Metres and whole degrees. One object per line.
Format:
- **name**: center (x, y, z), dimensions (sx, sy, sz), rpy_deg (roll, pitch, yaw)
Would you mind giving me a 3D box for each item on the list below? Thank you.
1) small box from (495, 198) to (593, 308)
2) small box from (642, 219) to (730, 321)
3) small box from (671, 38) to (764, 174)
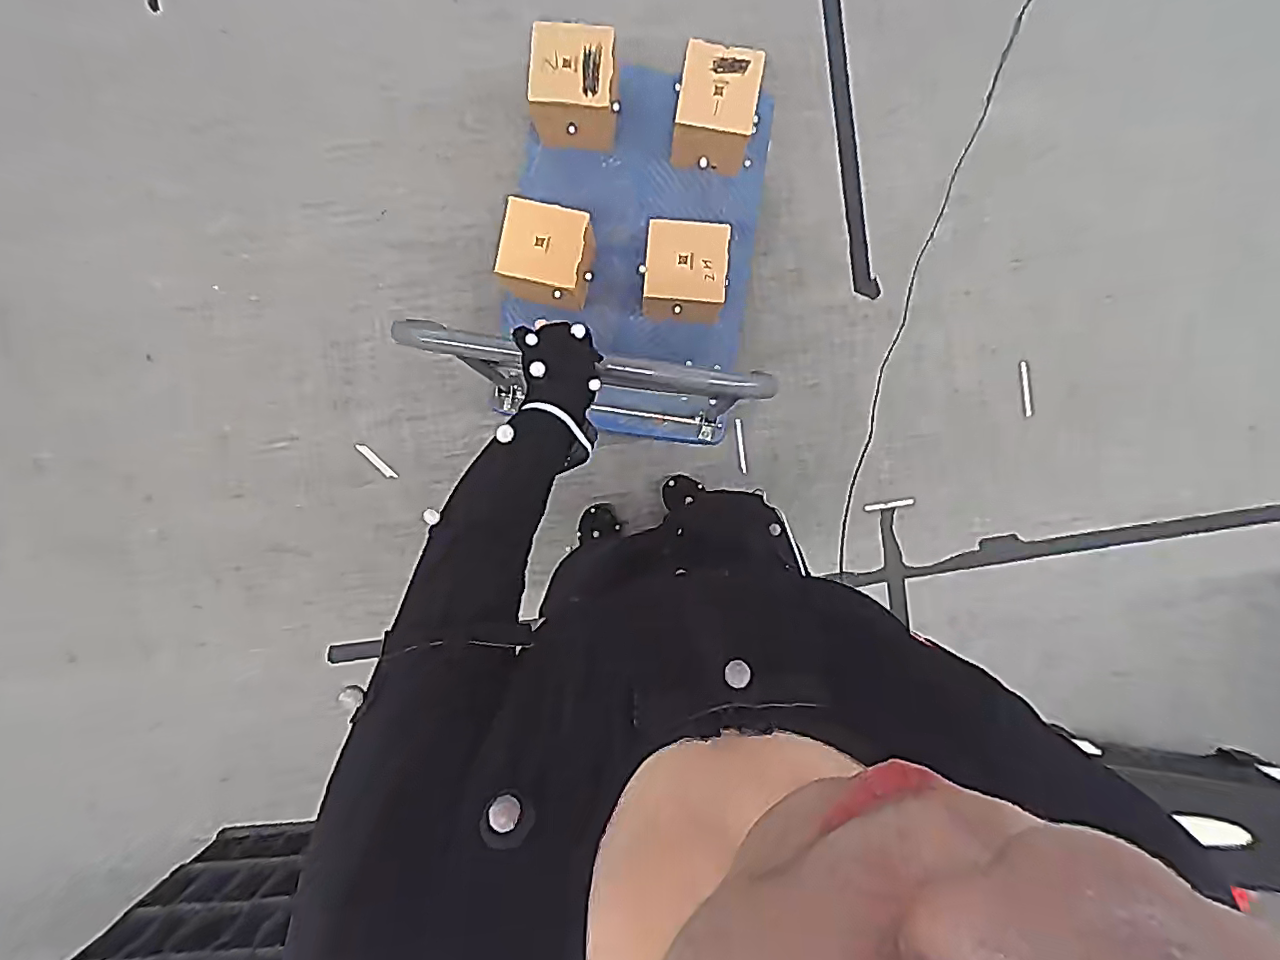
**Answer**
- **small box**: center (-0.209, -0.502, 1.221), dimensions (0.179, 0.176, 0.168), rpy_deg (11, 91, -2)
- **small box**: center (0.098, -0.465, 1.221), dimensions (0.179, 0.176, 0.168), rpy_deg (5, 92, 0)
- **small box**: center (0.165, -0.826, 1.209), dimensions (0.168, 0.176, 0.179), rpy_deg (10, 93, 0)
